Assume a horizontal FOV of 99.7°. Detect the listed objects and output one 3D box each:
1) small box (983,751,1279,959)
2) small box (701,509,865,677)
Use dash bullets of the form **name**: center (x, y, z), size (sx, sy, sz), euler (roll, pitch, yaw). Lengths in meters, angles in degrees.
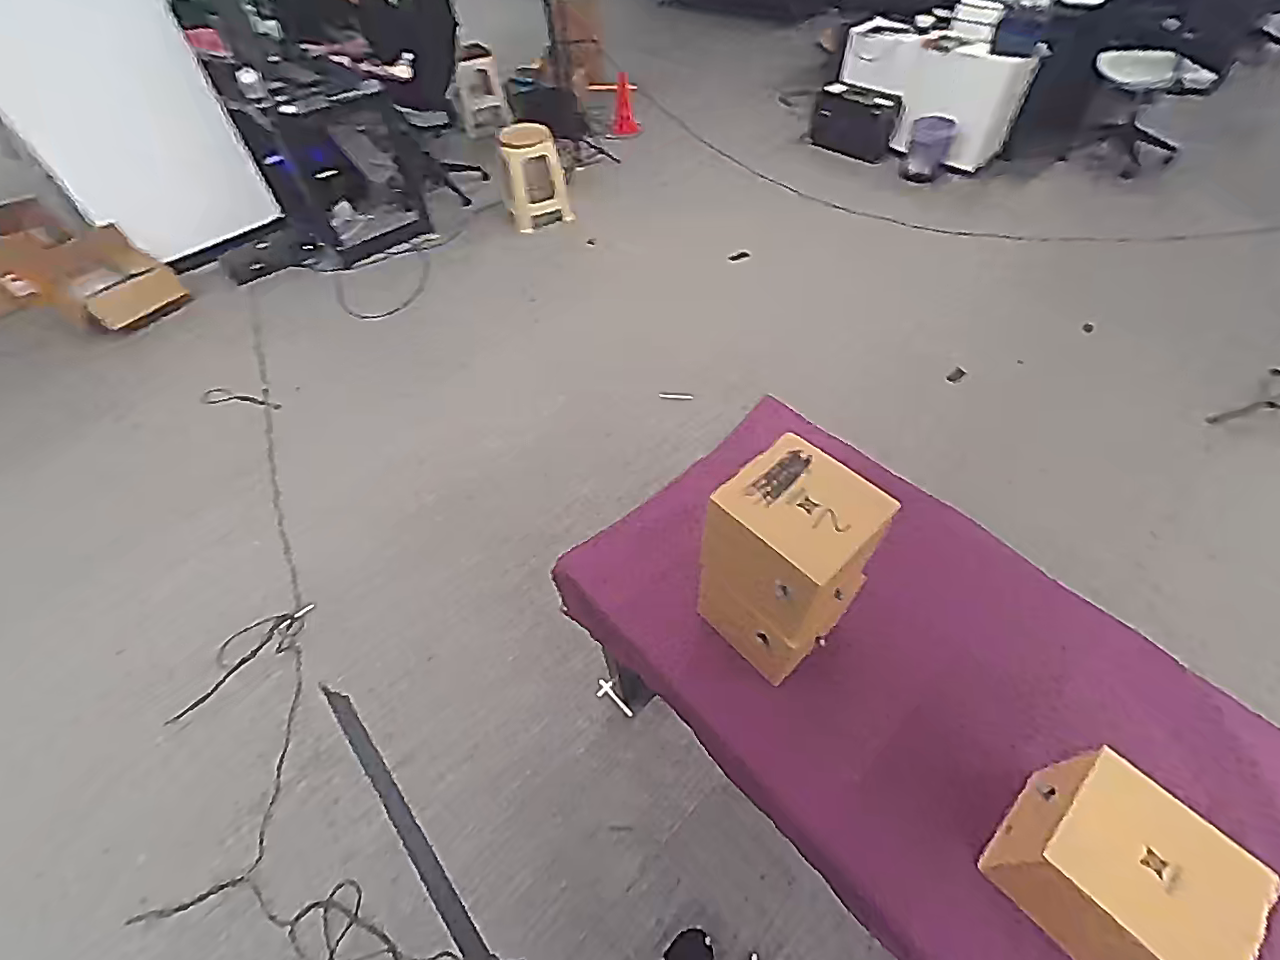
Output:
- **small box**: center (0.549, 0.461, 0.630), size (0.168, 0.176, 0.179), euler (-36, 59, -23)
- **small box**: center (0.214, 0.186, 0.857), size (0.168, 0.176, 0.179), euler (-35, 59, -22)
